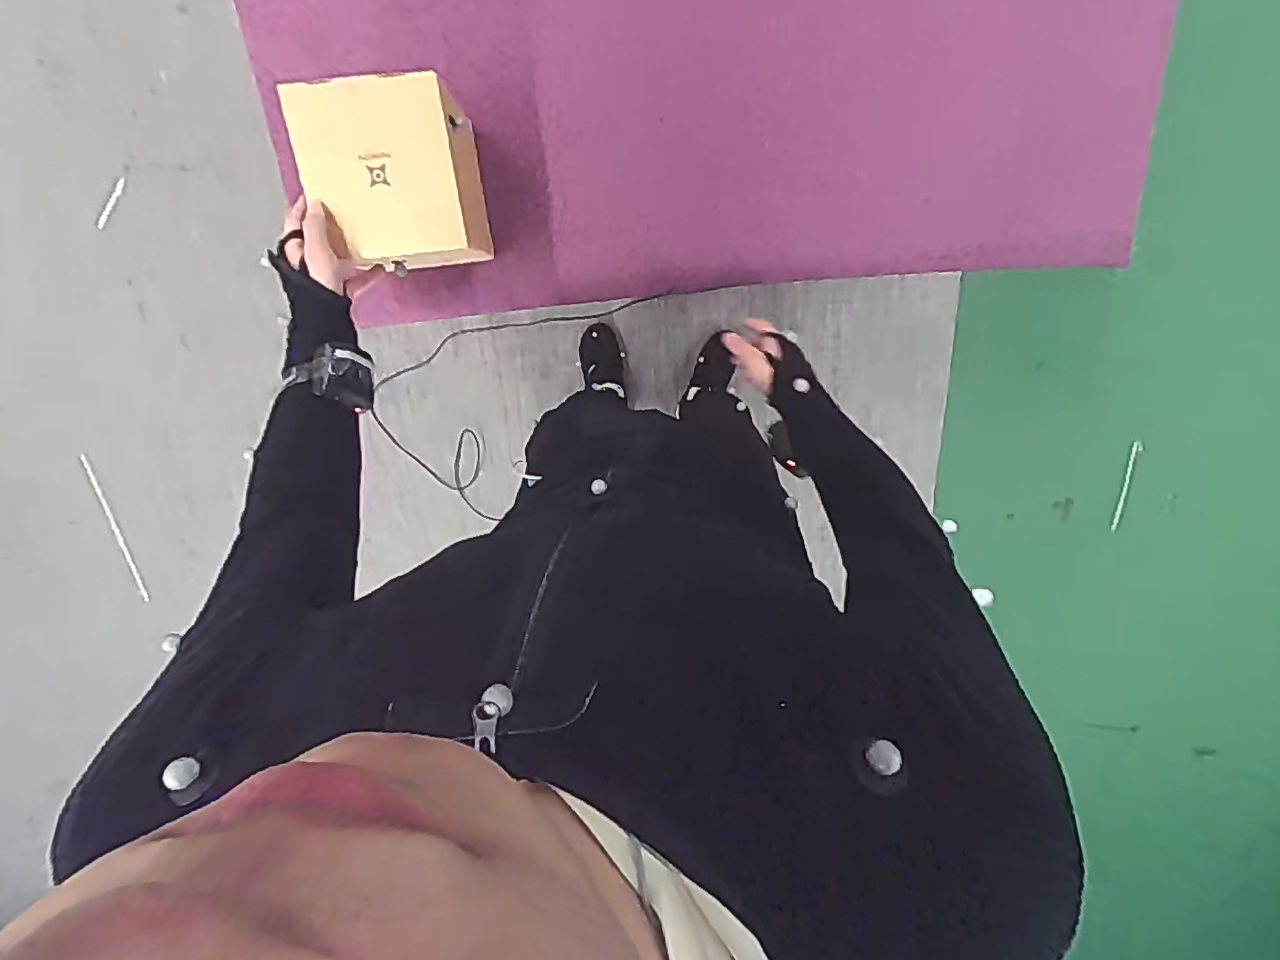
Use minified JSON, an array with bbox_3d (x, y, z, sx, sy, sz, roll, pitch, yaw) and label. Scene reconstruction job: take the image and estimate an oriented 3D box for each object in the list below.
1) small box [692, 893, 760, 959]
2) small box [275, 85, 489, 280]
[{"bbox_3d":[0.248,1.368,1.607,0.168,0.176,0.179,0,108,-3],"label":"small box"},{"bbox_3d":[-0.295,-0.346,0.664,0.168,0.176,0.179,-7,107,-2],"label":"small box"}]
